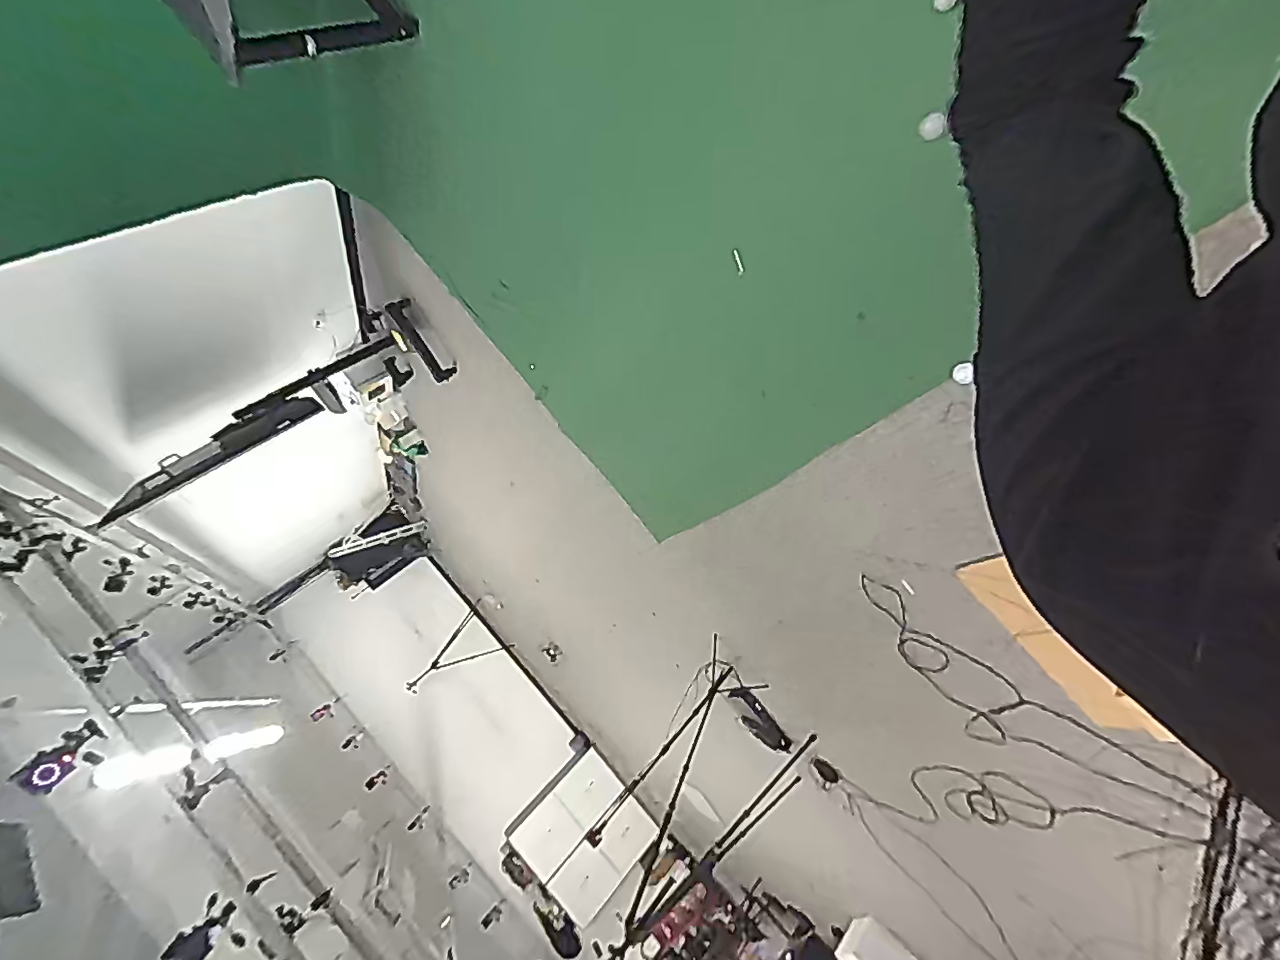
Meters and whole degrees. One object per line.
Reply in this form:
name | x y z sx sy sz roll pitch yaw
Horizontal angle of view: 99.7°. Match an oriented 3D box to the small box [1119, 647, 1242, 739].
small box | 1.468 0.574 1.467 0.168 0.176 0.179 47 151 6
